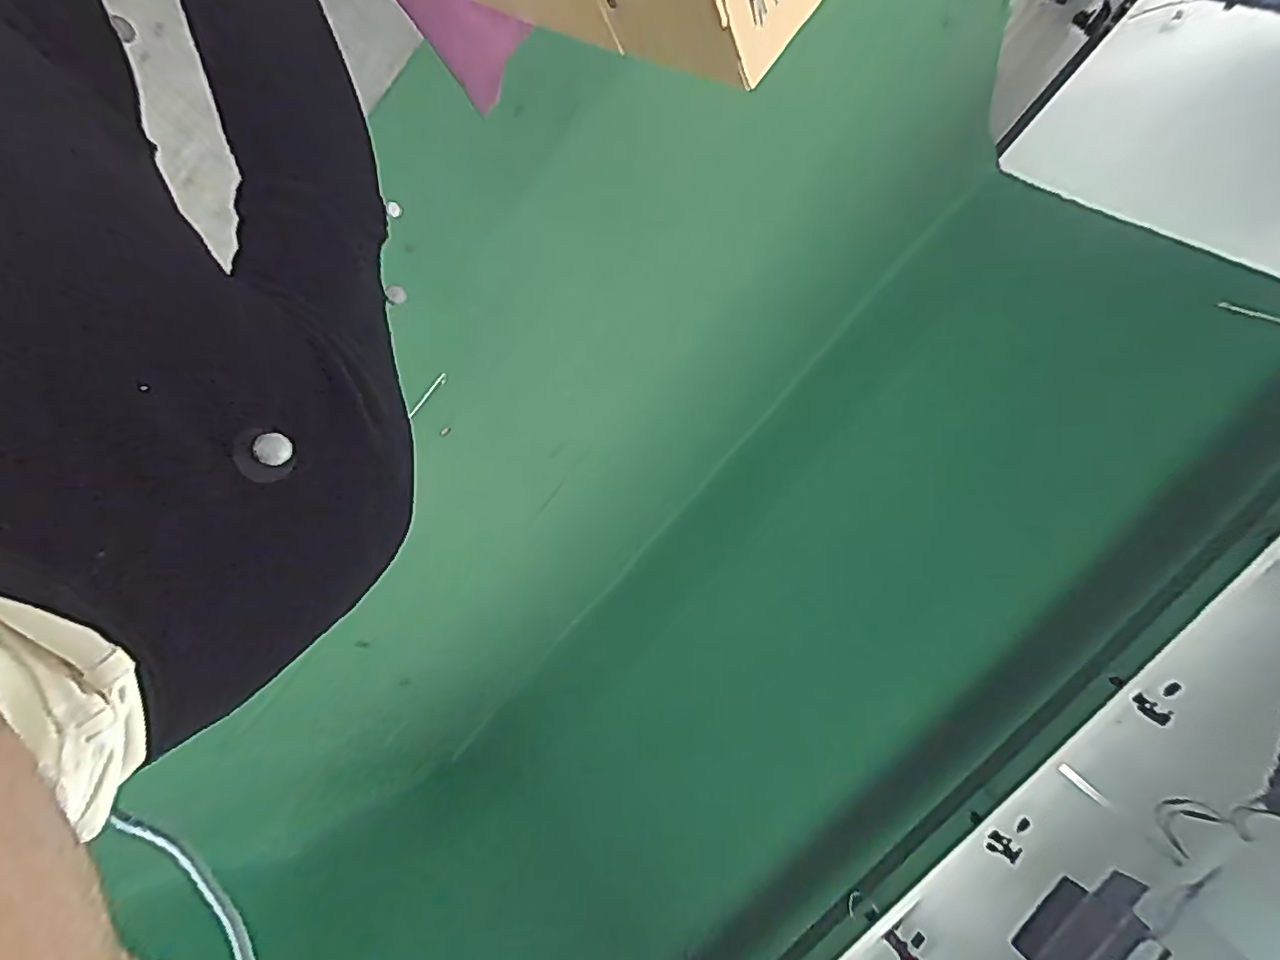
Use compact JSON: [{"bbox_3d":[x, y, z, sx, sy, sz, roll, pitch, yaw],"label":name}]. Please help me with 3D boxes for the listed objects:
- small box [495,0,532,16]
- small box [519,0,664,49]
[{"bbox_3d":[-0.156,-0.667,0.583,0.168,0.176,0.179,-48,152,2],"label":"small box"},{"bbox_3d":[-0.047,-0.568,0.509,0.179,0.176,0.168,-48,151,3],"label":"small box"}]
